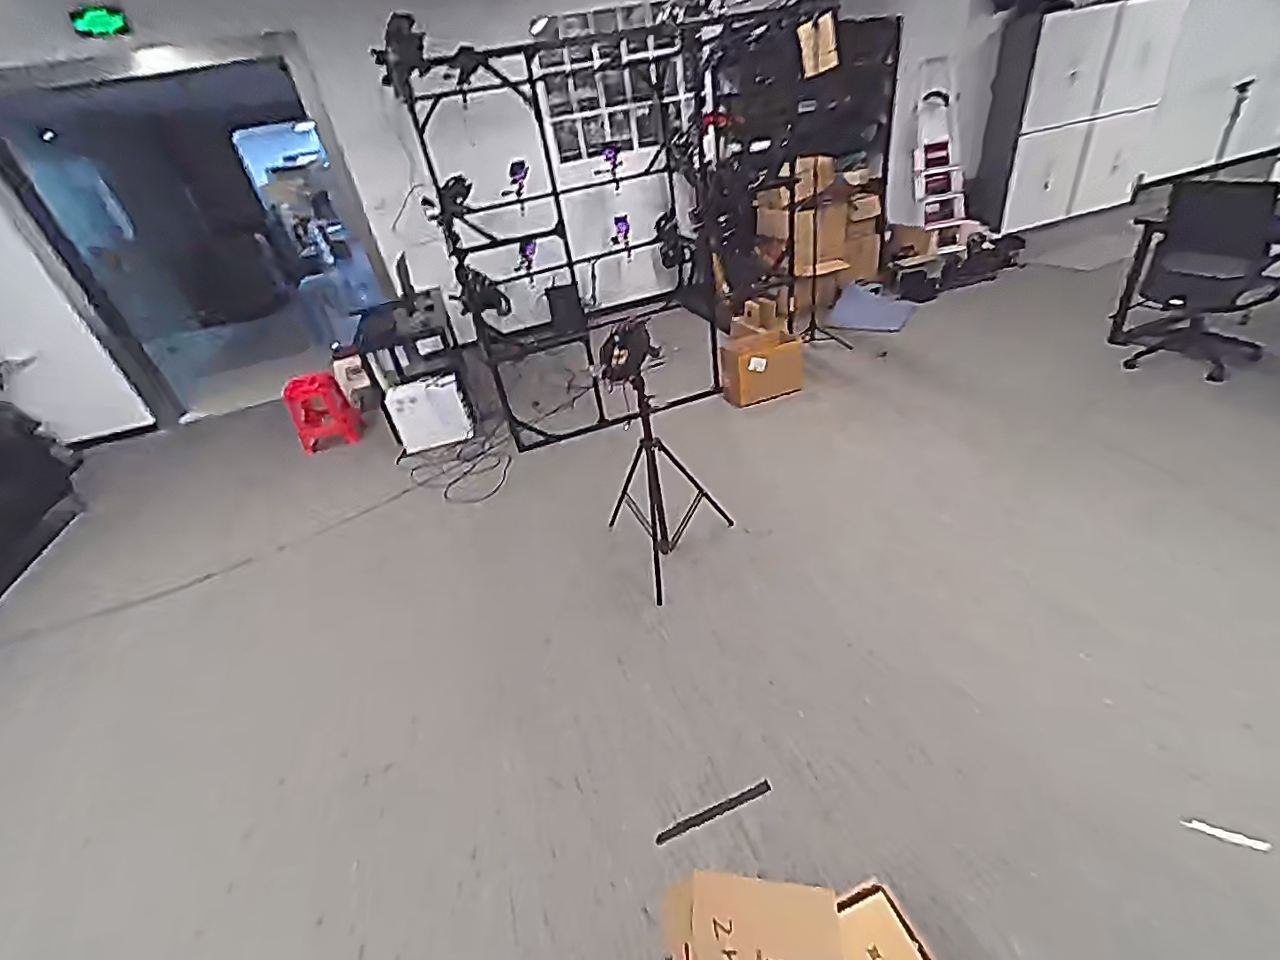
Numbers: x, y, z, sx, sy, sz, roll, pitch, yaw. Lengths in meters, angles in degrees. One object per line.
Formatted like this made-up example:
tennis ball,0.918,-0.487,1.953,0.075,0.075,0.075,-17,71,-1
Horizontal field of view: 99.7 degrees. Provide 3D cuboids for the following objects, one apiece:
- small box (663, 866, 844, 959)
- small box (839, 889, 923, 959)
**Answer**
small box,0.127,0.580,0.639,0.179,0.176,0.168,10,45,-2
small box,0.485,1.020,1.138,0.168,0.176,0.179,-18,37,-10
